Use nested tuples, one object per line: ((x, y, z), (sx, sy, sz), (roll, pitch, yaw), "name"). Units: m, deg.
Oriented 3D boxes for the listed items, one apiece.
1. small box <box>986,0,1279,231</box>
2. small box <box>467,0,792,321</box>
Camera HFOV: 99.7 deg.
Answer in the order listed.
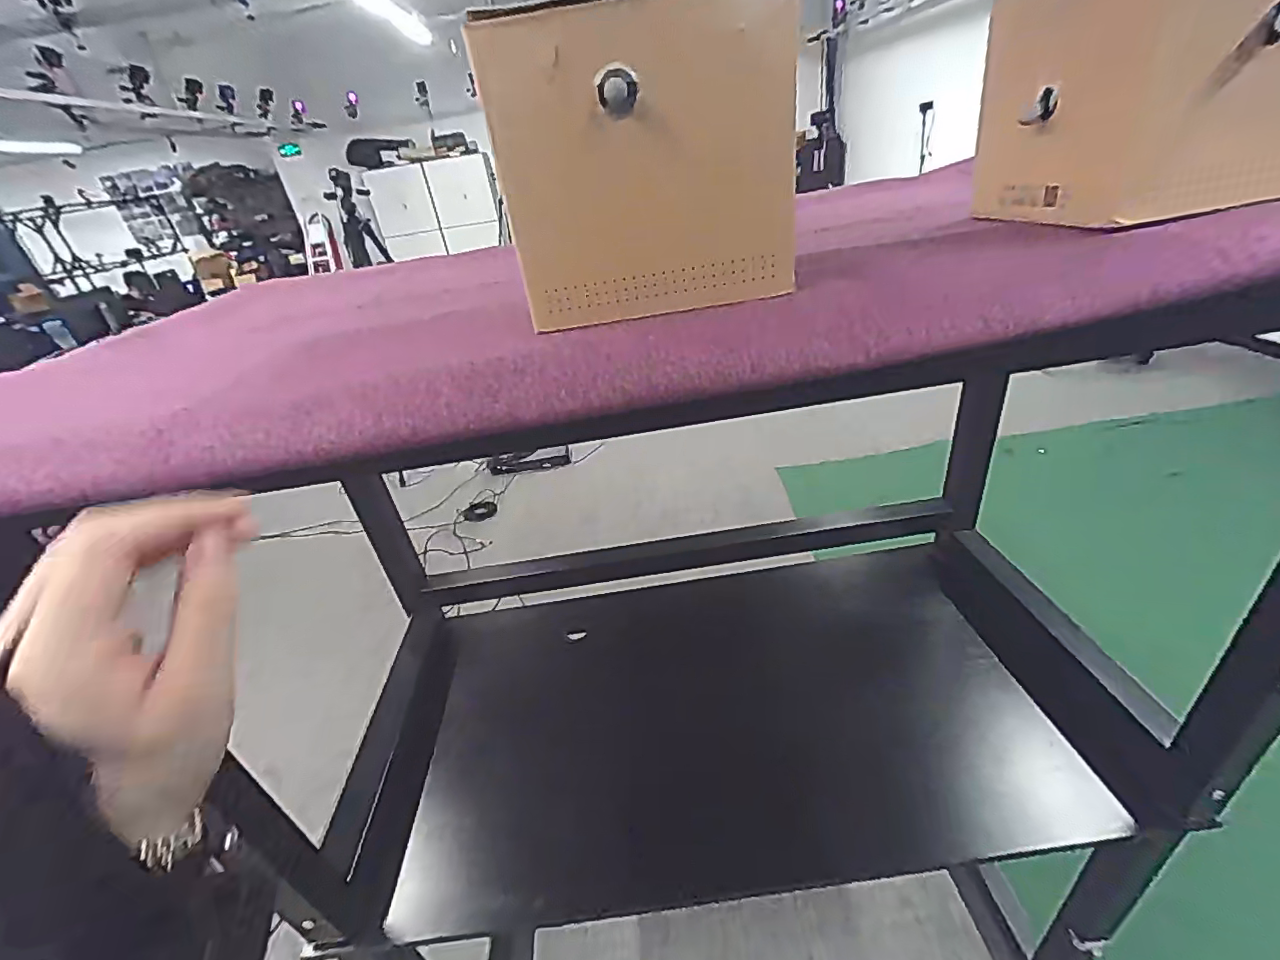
((0.378, -0.285, 0.384), (0.179, 0.176, 0.168), (-10, 29, 3), "small box")
((0.003, -0.221, 0.384), (0.179, 0.176, 0.168), (-7, 32, 2), "small box")
